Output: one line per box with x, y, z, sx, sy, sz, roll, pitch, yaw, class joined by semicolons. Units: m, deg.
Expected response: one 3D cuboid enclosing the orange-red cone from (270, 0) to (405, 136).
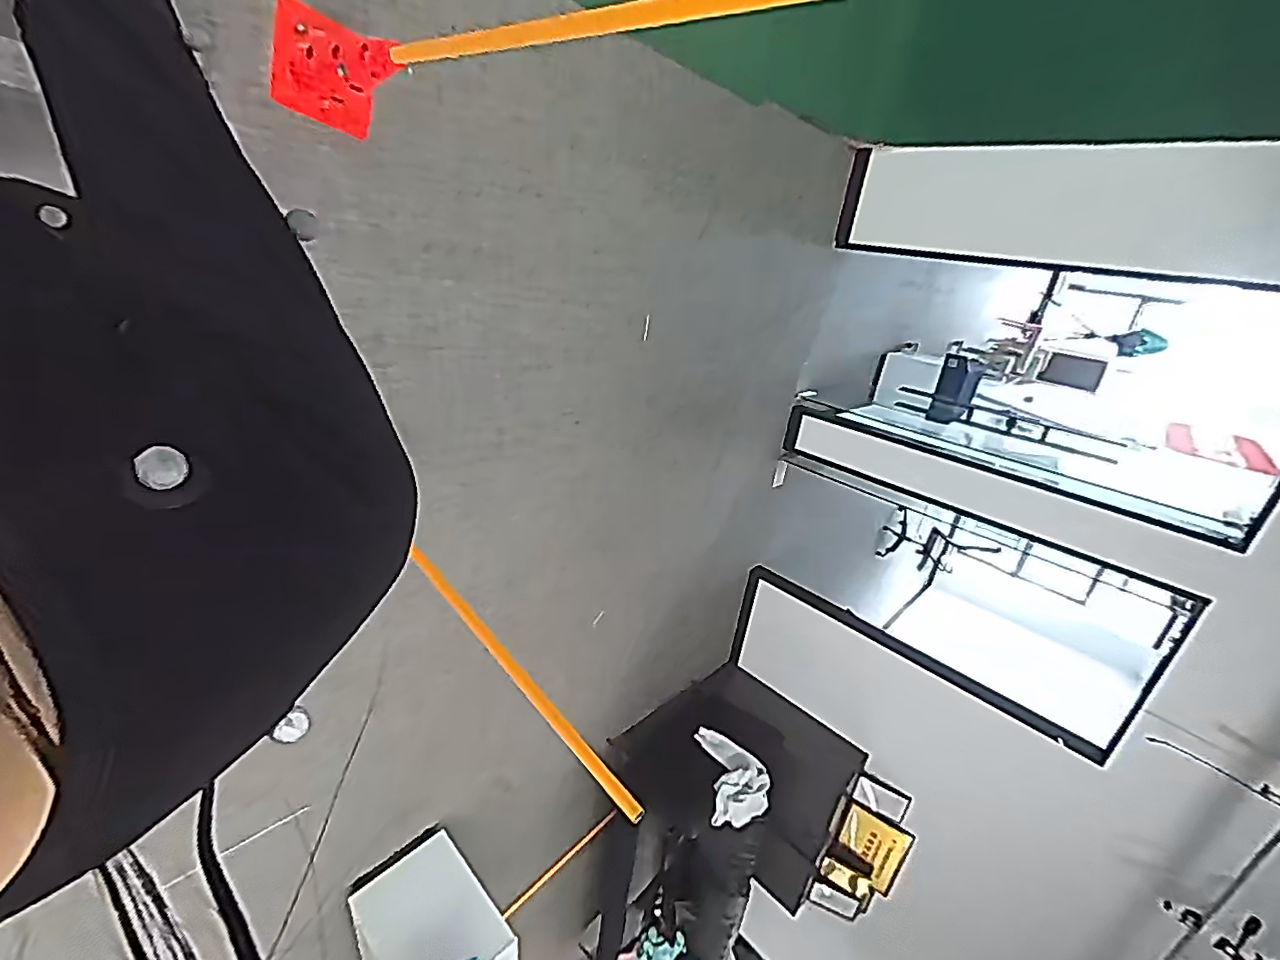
-0.558;-0.826;1.068;0.198;0.360;0.199;0;112;-49;orange-red cone
